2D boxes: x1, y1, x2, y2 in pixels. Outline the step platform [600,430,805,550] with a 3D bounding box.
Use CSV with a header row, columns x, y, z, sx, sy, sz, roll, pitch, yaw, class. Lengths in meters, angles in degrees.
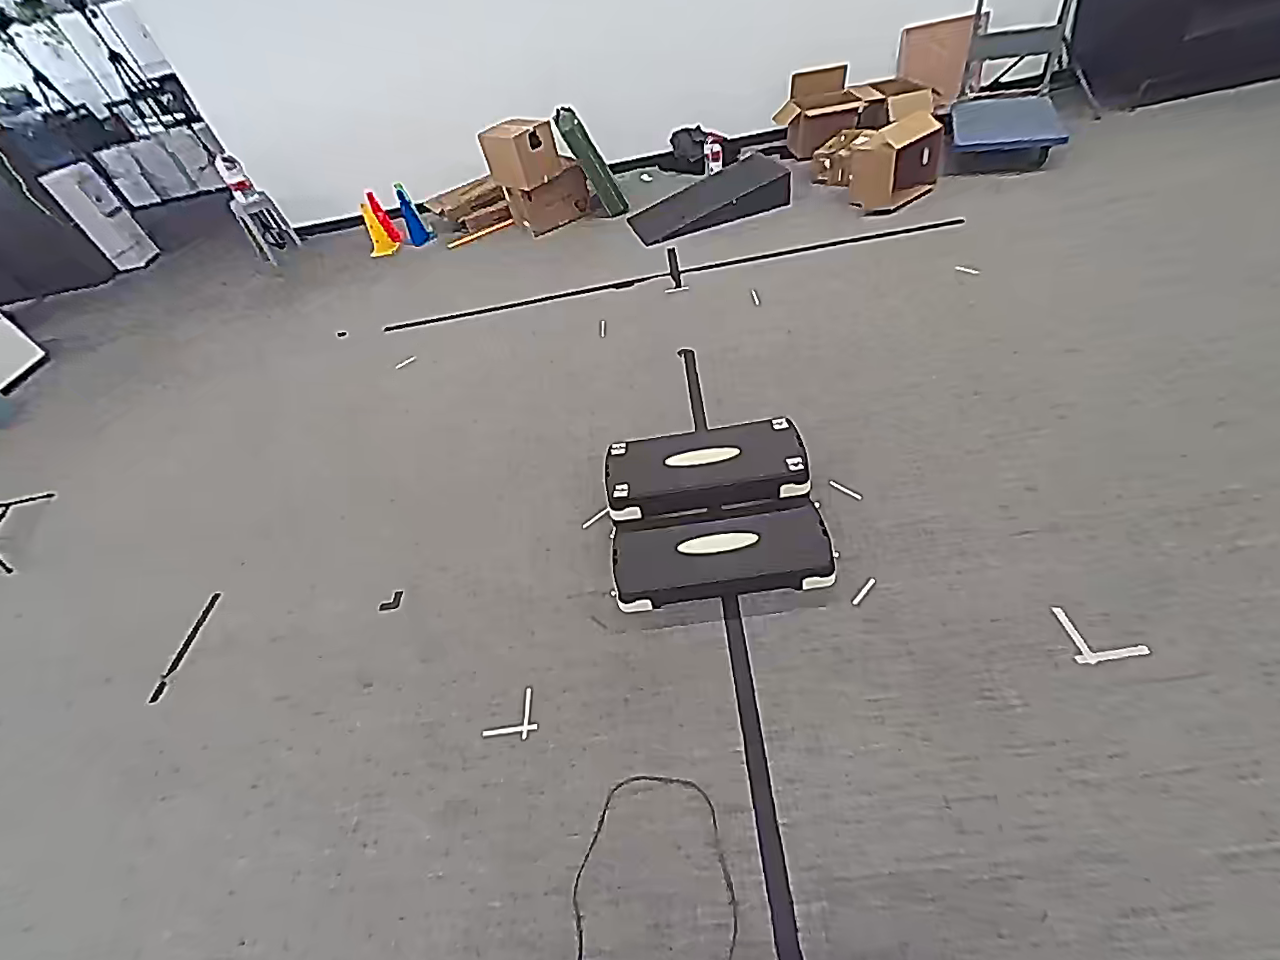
x,y,z,sx,sy,sz,roll,pitch,yaw,class
0.205,0.029,1.850,0.684,0.204,0.286,-9,46,4,step platform
